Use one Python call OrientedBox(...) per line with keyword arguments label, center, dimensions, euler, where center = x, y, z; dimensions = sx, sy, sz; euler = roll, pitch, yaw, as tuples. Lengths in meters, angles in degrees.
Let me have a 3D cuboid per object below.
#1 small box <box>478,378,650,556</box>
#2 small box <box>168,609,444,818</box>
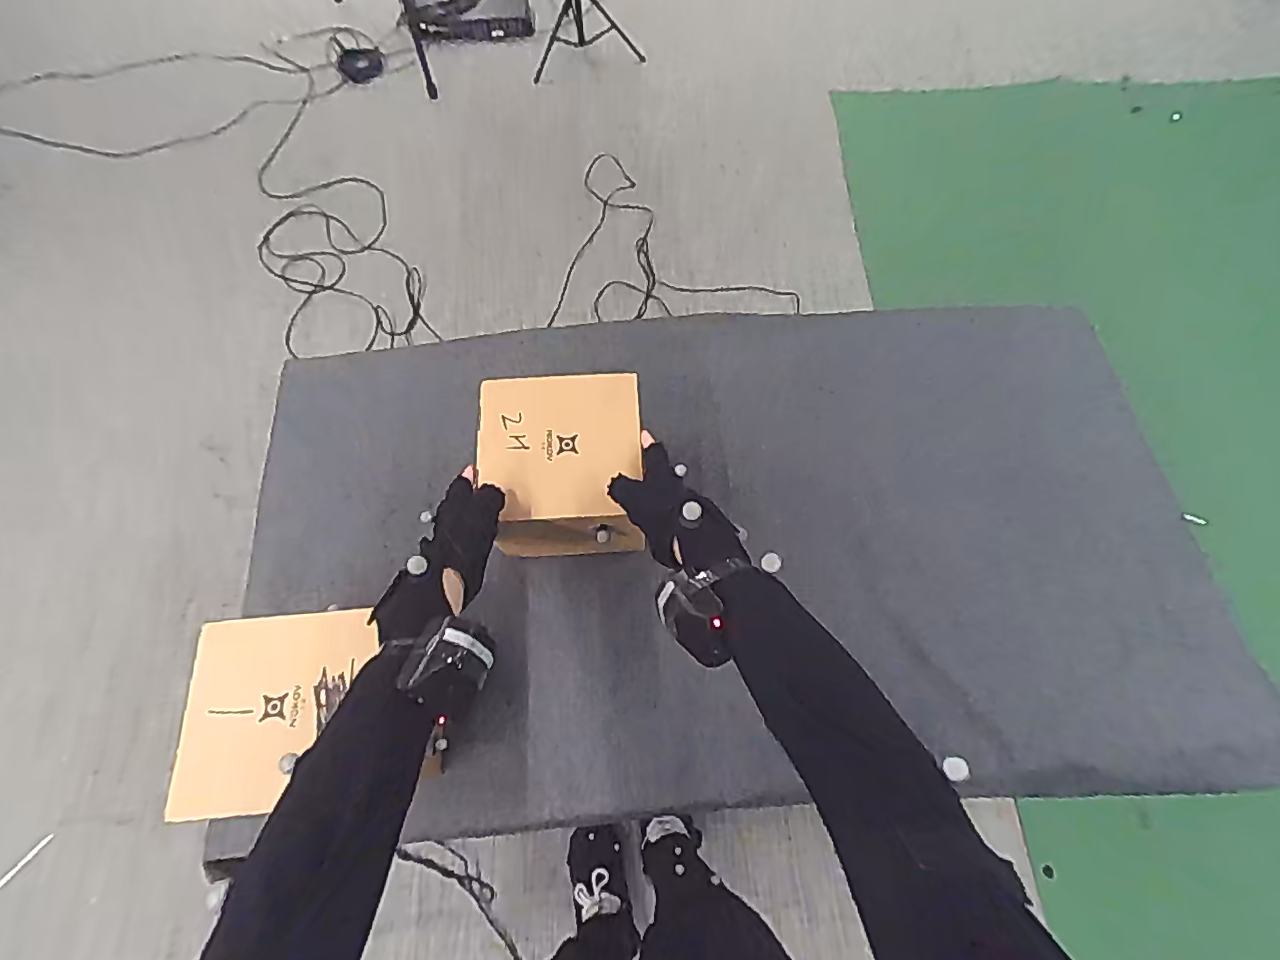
OrientedBox(label="small box", center=(-0.082, -0.007, 0.649), dimensions=(0.179, 0.176, 0.168), euler=(-3, 70, -1))
OrientedBox(label="small box", center=(-0.315, 0.230, 0.557), dimensions=(0.179, 0.176, 0.168), euler=(-4, 68, -2))
